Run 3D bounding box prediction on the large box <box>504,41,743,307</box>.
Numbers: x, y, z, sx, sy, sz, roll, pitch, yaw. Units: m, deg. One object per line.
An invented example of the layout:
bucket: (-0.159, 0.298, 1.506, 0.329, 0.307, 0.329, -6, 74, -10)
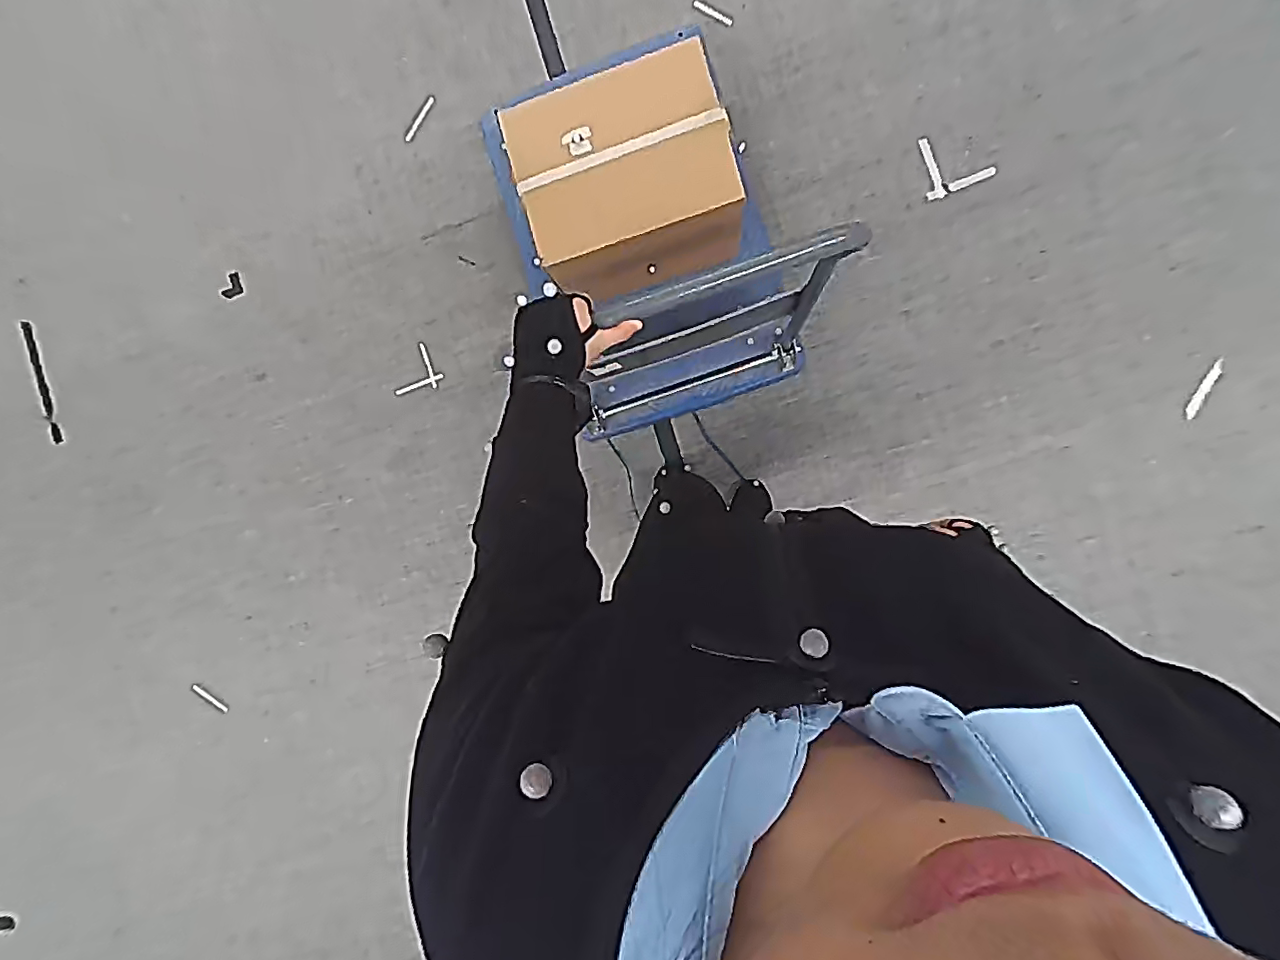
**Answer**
large box: (-0.017, -0.621, 1.176, 0.408, 0.320, 0.320, -17, 89, 8)
